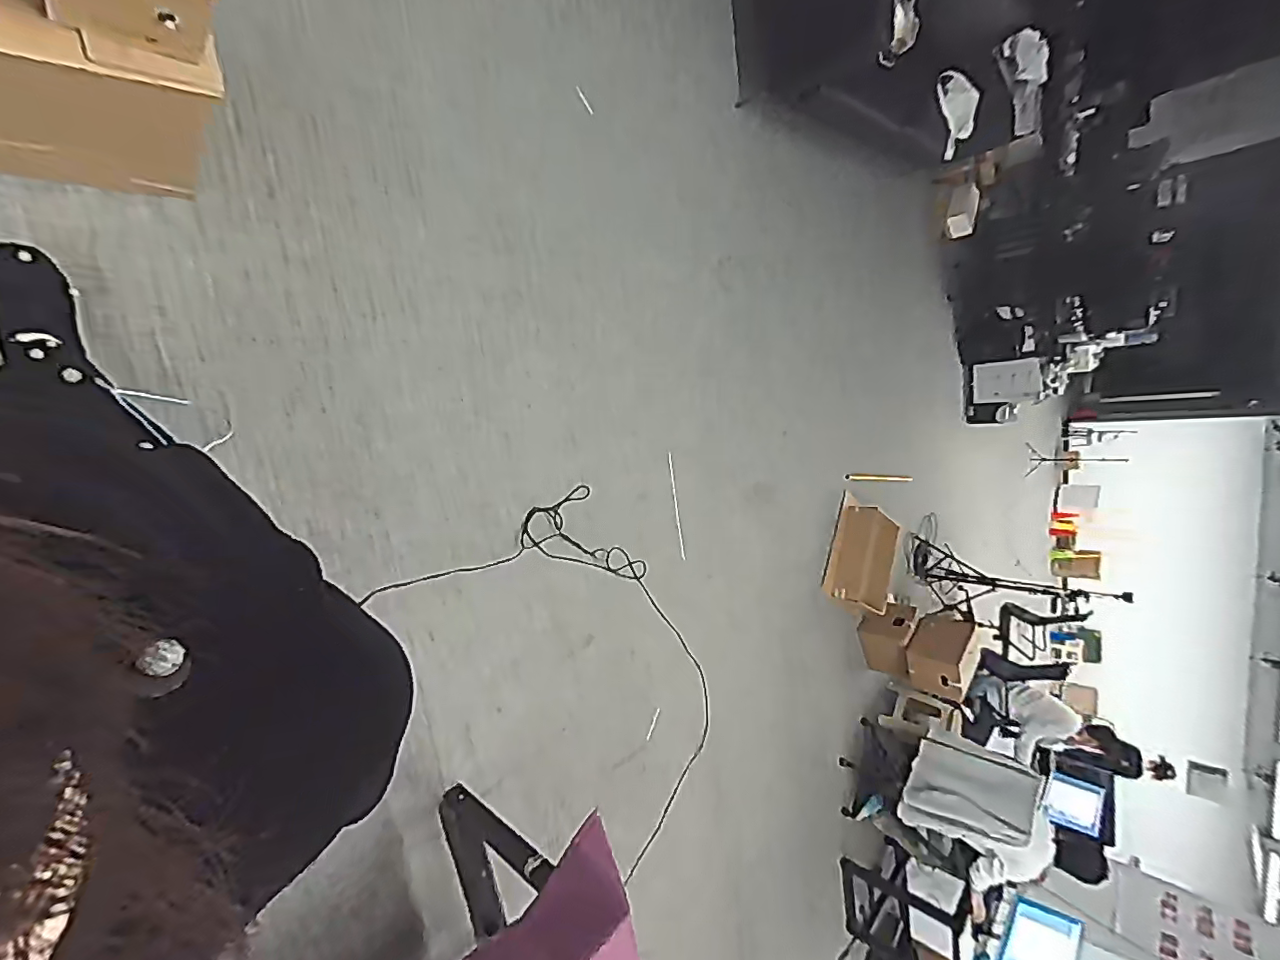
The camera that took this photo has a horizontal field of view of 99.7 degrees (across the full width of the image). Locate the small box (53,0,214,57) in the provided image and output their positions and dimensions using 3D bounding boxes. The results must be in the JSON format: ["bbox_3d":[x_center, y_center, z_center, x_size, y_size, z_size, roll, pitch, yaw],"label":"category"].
[{"bbox_3d":[-0.671,-0.703,0.699,0.168,0.176,0.179,-12,100,-43],"label":"small box"}]
